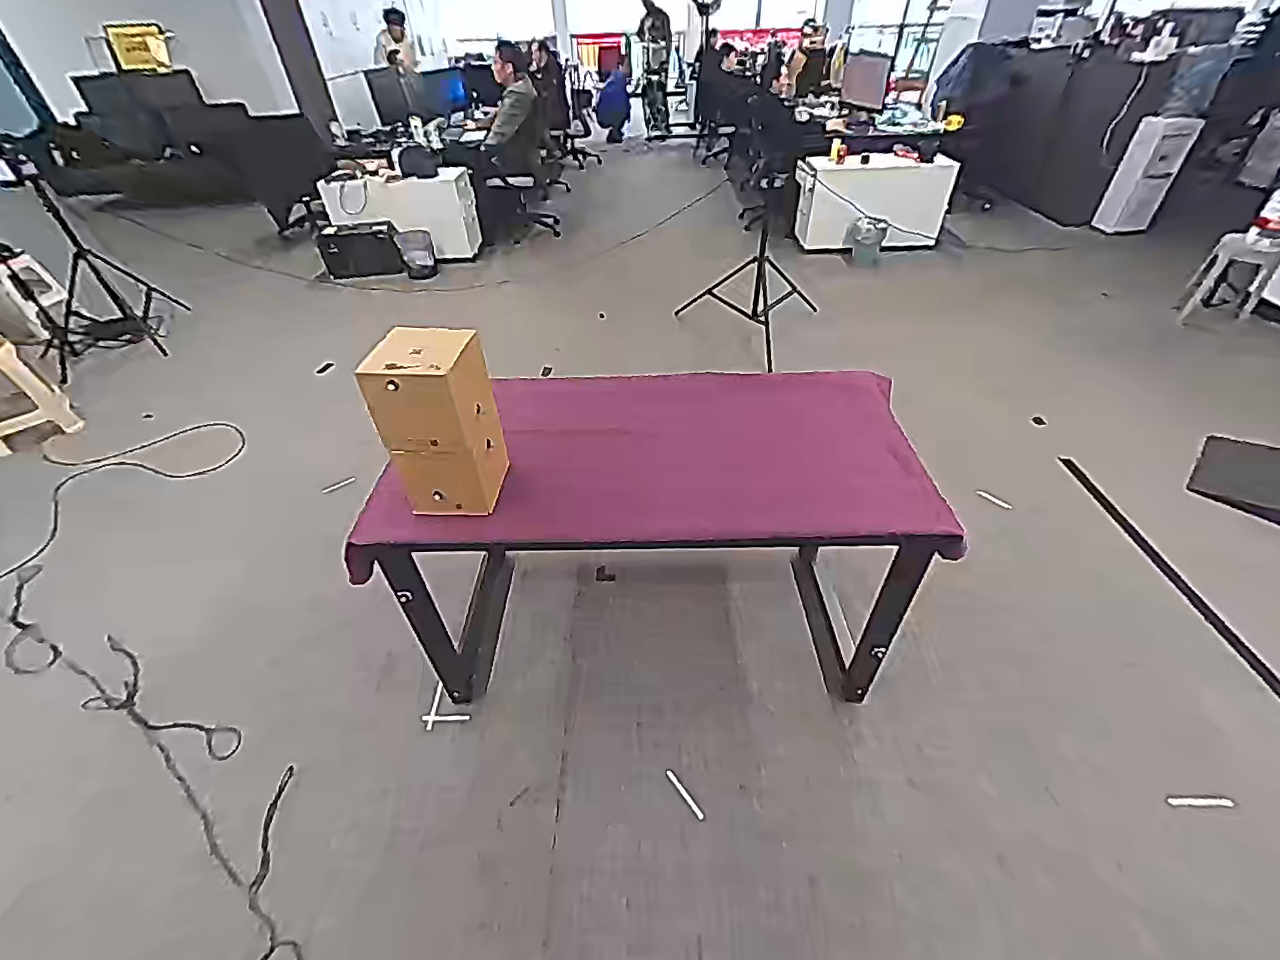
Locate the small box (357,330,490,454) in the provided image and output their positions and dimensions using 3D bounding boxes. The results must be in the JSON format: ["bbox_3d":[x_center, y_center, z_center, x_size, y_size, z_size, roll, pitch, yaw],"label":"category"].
[{"bbox_3d":[-0.396,-0.170,1.029,0.168,0.176,0.179,2,40,4],"label":"small box"}]

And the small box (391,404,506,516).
[{"bbox_3d":[-0.388,-0.045,1.135,0.168,0.176,0.179,1,41,3],"label":"small box"}]
